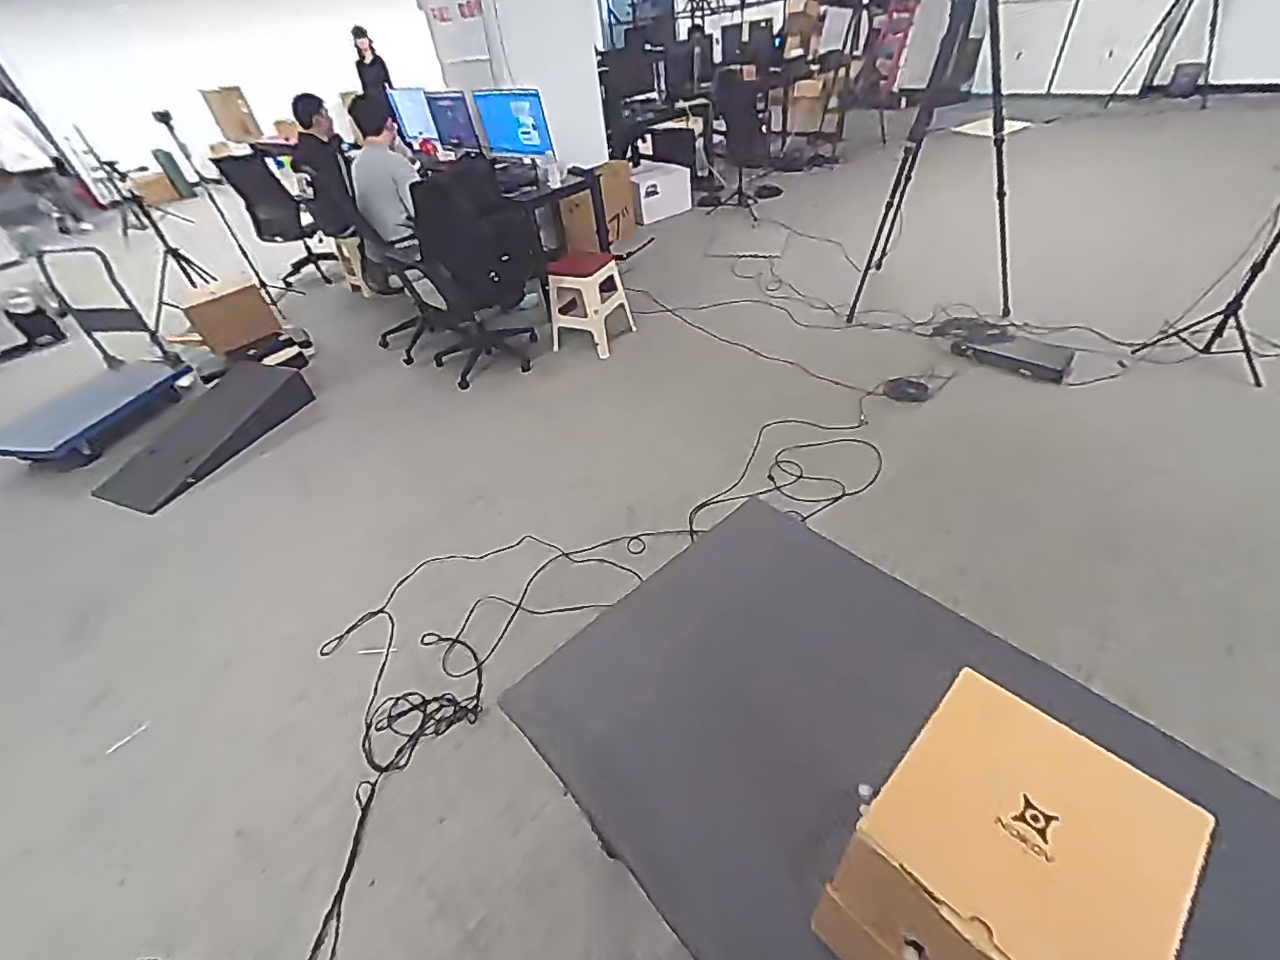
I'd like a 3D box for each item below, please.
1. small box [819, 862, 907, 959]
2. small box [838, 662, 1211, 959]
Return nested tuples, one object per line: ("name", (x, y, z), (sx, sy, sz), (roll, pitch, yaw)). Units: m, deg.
("small box", (0.294, 0.411, 0.530), (0.179, 0.176, 0.168), (-36, 47, -28))
("small box", (0.276, 0.290, 0.423), (0.179, 0.176, 0.168), (-36, 48, -28))
